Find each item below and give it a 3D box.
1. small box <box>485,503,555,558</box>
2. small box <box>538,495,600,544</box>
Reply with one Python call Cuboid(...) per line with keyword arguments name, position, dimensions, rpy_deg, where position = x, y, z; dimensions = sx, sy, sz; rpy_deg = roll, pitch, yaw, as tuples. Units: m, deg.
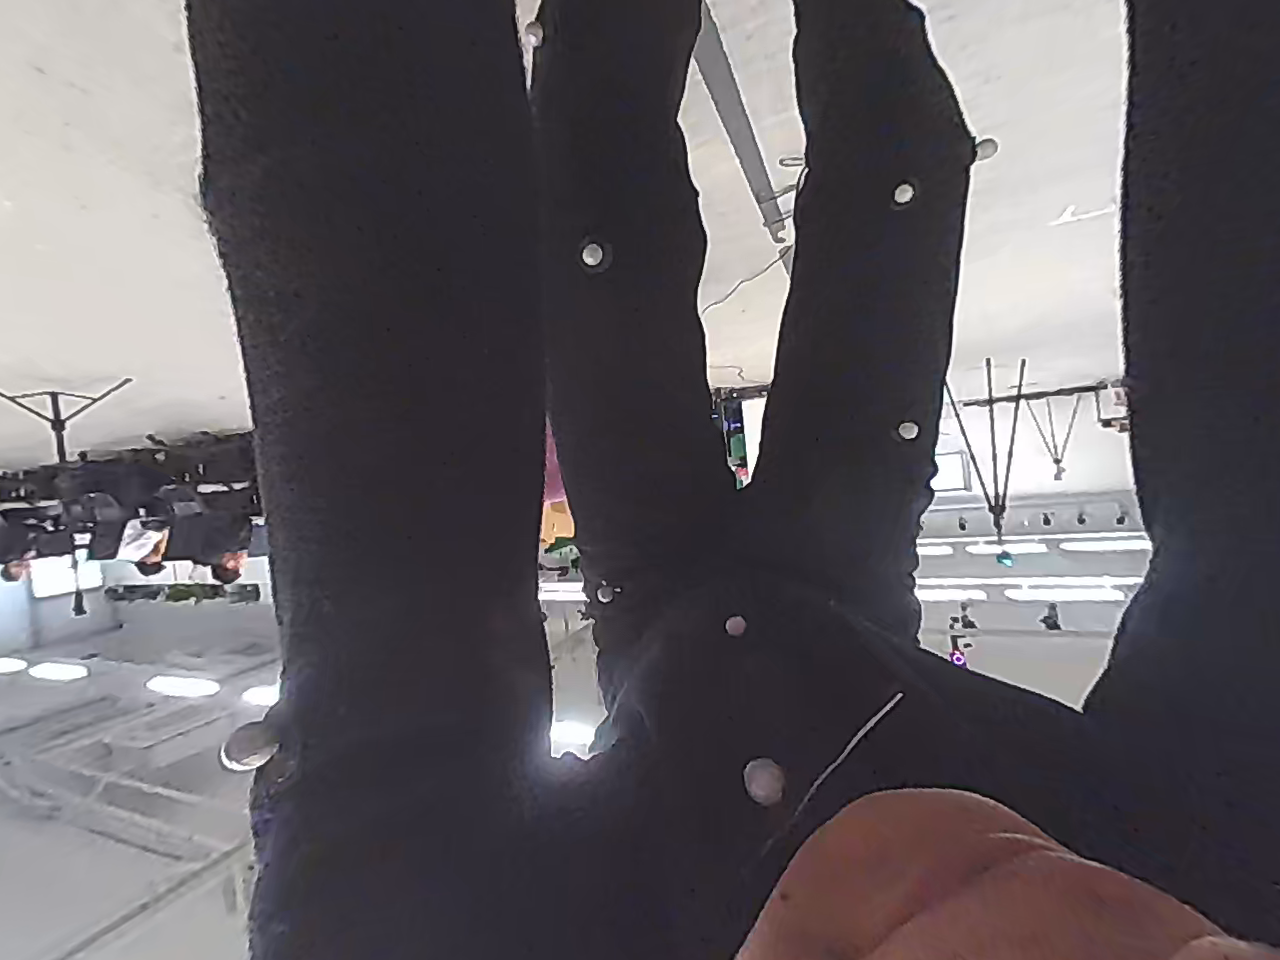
Cuboid(name="small box", position=(-0.416, 0.170, 1.863), dimensions=(0.179, 0.176, 0.168), rpy_deg=(-6, -179, 29))
Cuboid(name="small box", position=(-0.279, 0.150, 2.090), dimensions=(0.179, 0.176, 0.168), rpy_deg=(-5, 180, 37))
